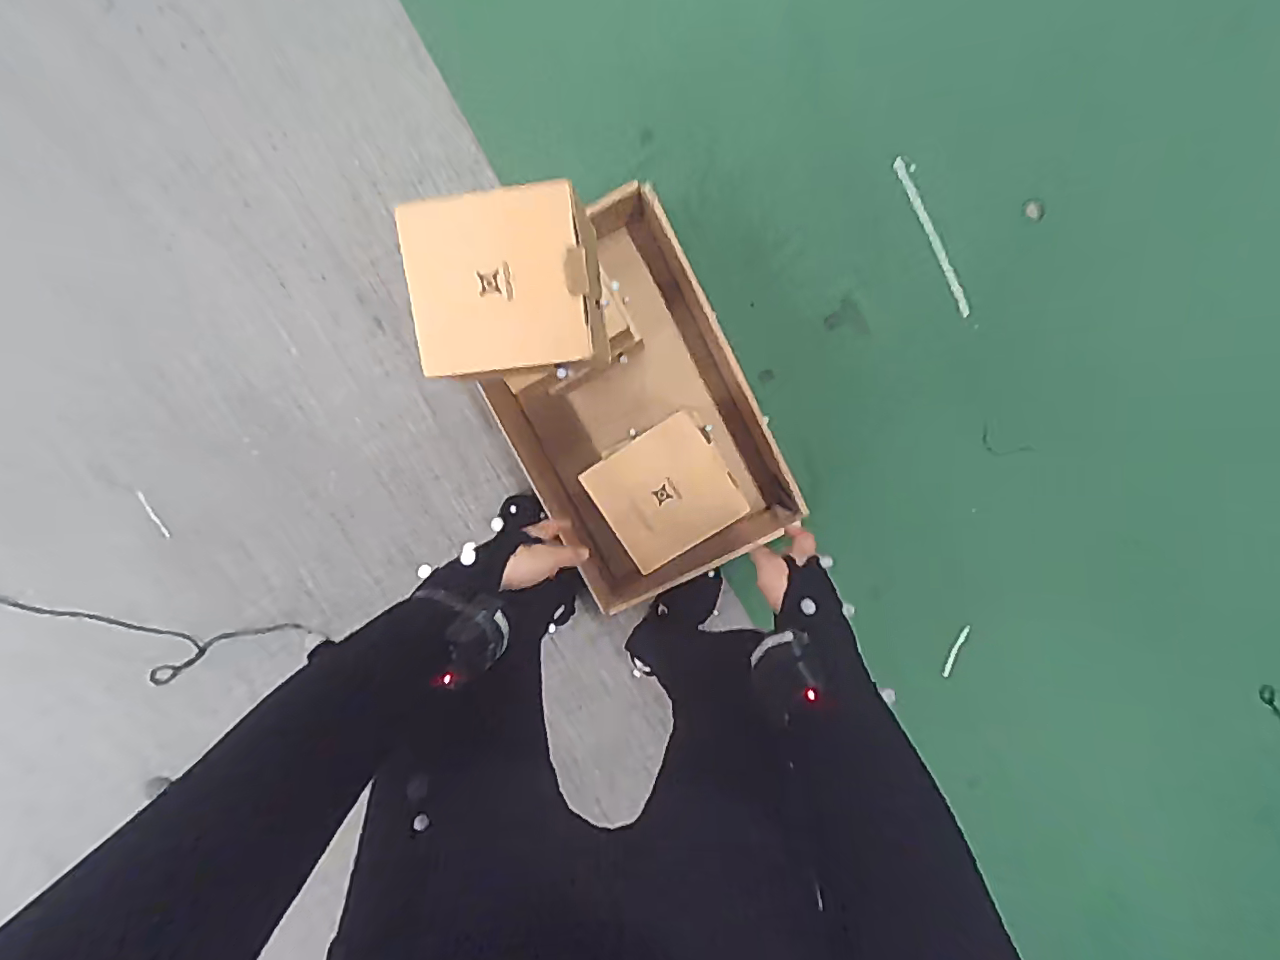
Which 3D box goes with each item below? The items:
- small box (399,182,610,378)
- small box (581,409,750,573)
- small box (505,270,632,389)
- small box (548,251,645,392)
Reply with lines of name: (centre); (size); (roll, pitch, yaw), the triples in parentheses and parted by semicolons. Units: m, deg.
small box: (-0.136, -0.207, 0.607); (0.179, 0.176, 0.168); (-6, 99, 3)
small box: (0.039, 0.005, 0.799); (0.179, 0.176, 0.168); (-33, 94, 10)
small box: (-0.124, -0.239, 0.766); (0.179, 0.176, 0.168); (-28, 98, 6)
small box: (-0.104, -0.265, 0.926); (0.179, 0.176, 0.168); (-29, 97, 6)
